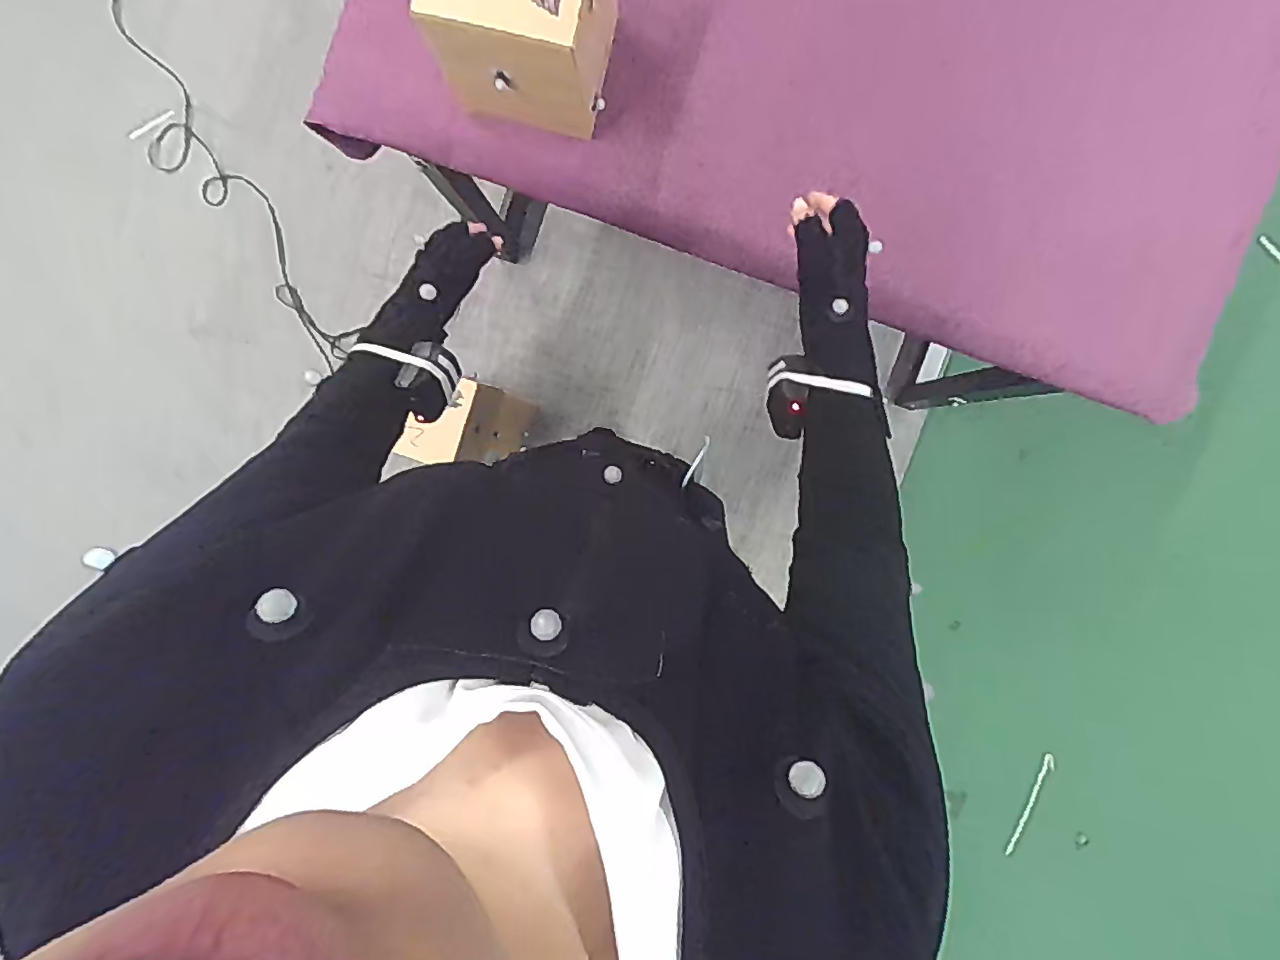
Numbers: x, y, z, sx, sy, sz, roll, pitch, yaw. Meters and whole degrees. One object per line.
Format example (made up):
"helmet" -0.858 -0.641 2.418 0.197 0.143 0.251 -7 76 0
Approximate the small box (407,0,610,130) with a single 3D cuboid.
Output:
"small box" -0.137 -0.548 0.630 0.179 0.176 0.168 13 93 0
